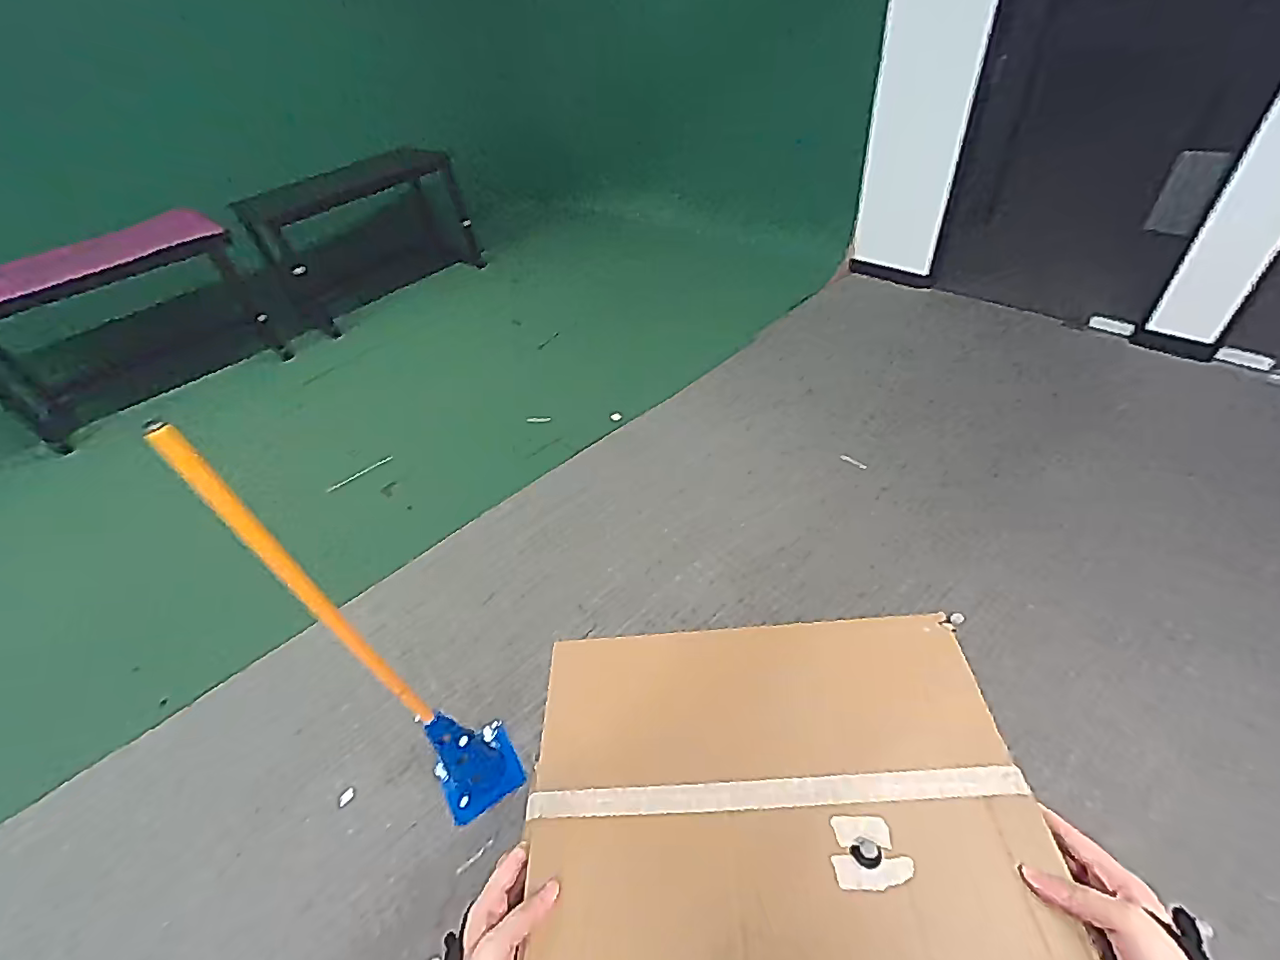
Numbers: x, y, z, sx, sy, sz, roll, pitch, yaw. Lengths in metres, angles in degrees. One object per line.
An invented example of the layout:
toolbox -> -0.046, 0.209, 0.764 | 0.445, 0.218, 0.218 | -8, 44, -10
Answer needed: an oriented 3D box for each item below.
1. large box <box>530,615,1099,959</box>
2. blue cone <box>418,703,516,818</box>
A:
large box -> 0.130, 0.370, 0.567 | 0.408, 0.320, 0.320 | -5, 44, 5
blue cone -> -0.459, 0.659, 1.339 | 0.193, 0.380, 0.192 | -28, 46, -19
